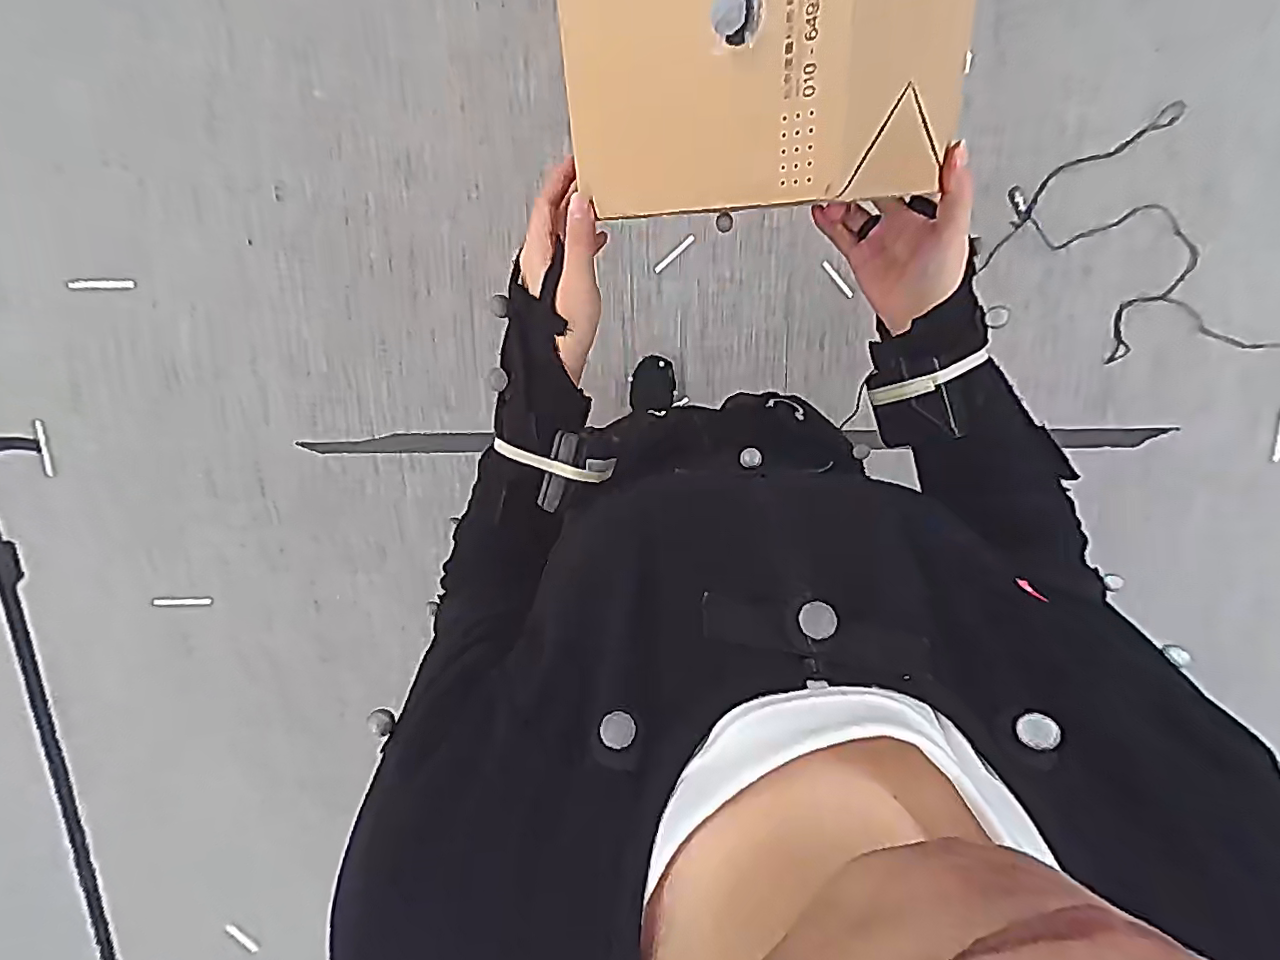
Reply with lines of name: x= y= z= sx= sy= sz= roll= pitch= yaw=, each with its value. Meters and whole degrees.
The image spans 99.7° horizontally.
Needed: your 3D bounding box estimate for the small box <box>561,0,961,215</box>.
small box: x=0.075 y=-0.254 z=0.316 sx=0.176 sy=0.179 sz=0.168 roll=17 pitch=123 yaw=38
